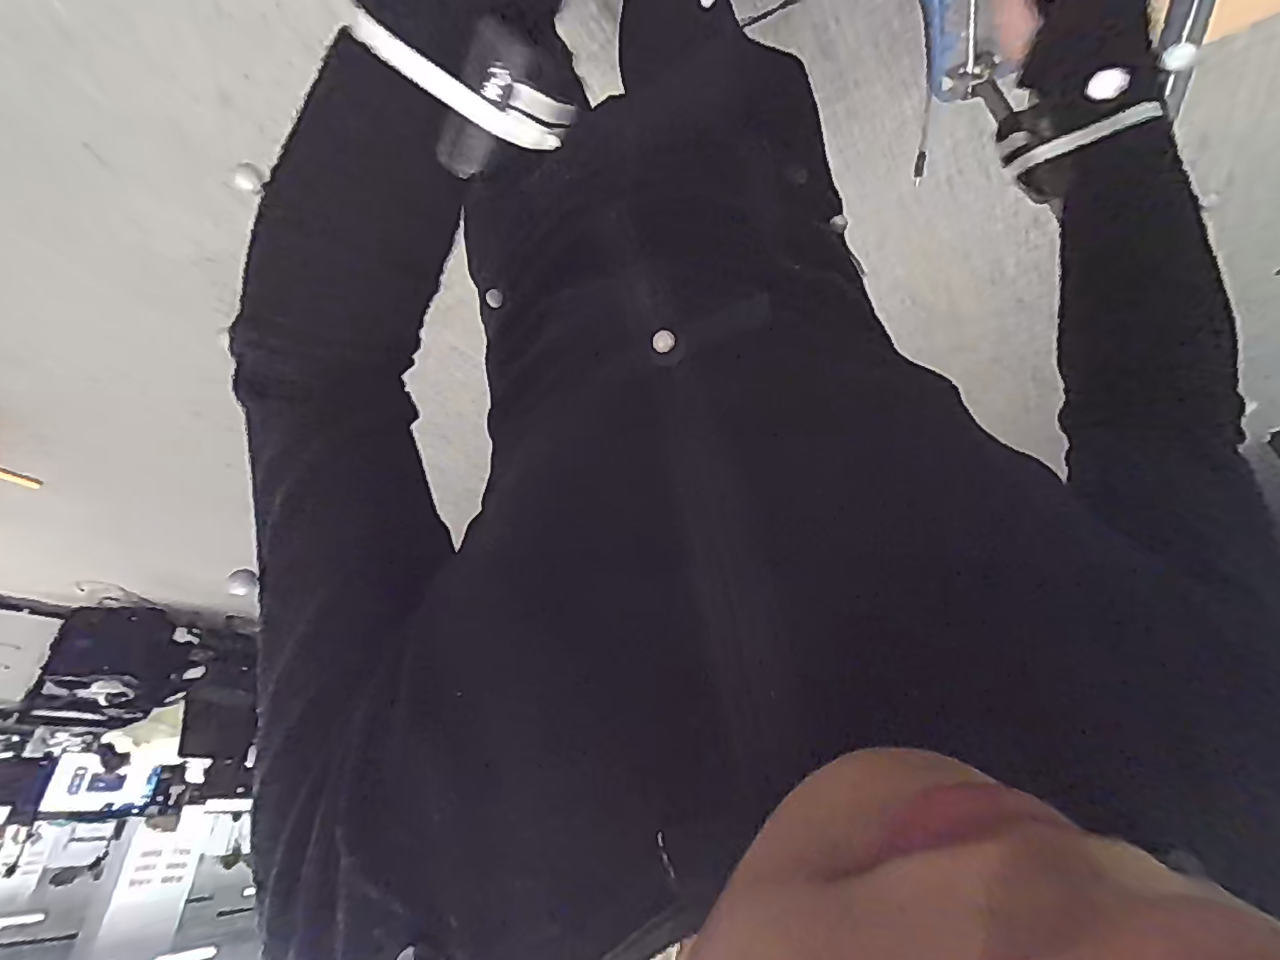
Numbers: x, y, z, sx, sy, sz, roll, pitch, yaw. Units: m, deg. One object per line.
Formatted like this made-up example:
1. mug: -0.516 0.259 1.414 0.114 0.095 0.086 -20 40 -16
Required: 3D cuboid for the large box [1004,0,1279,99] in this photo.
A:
1. large box: 0.764 -0.824 0.712 0.408 0.320 0.320 -17 146 21
